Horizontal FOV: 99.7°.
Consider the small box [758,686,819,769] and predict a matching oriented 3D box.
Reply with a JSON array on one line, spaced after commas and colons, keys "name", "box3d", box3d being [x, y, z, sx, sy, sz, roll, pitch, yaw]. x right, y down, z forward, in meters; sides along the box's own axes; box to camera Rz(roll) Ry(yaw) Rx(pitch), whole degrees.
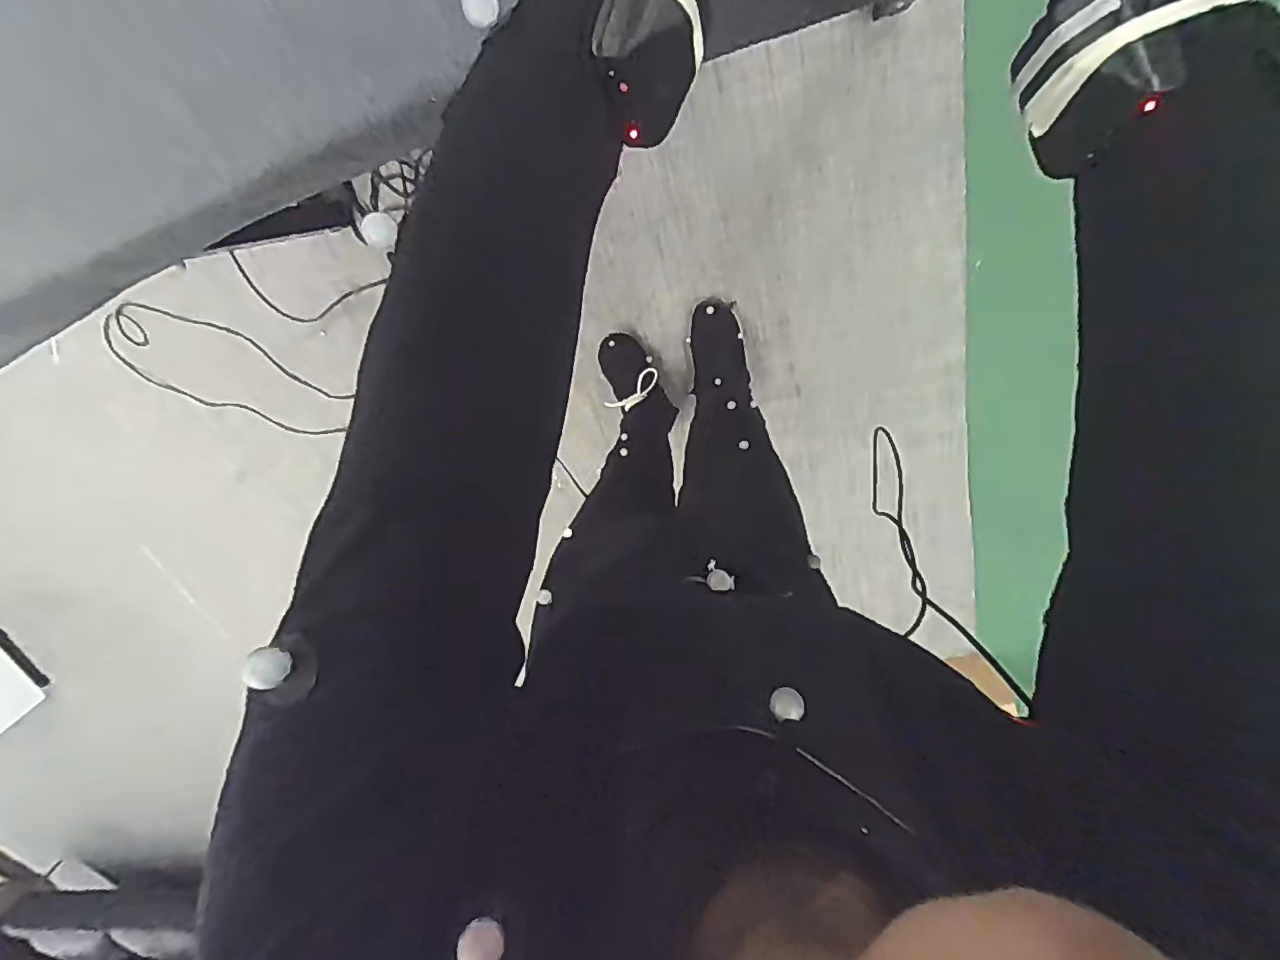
[{"name": "small box", "box3d": [0.462, 0.771, 1.689, 0.168, 0.176, 0.179, -7, 118, 14]}]
